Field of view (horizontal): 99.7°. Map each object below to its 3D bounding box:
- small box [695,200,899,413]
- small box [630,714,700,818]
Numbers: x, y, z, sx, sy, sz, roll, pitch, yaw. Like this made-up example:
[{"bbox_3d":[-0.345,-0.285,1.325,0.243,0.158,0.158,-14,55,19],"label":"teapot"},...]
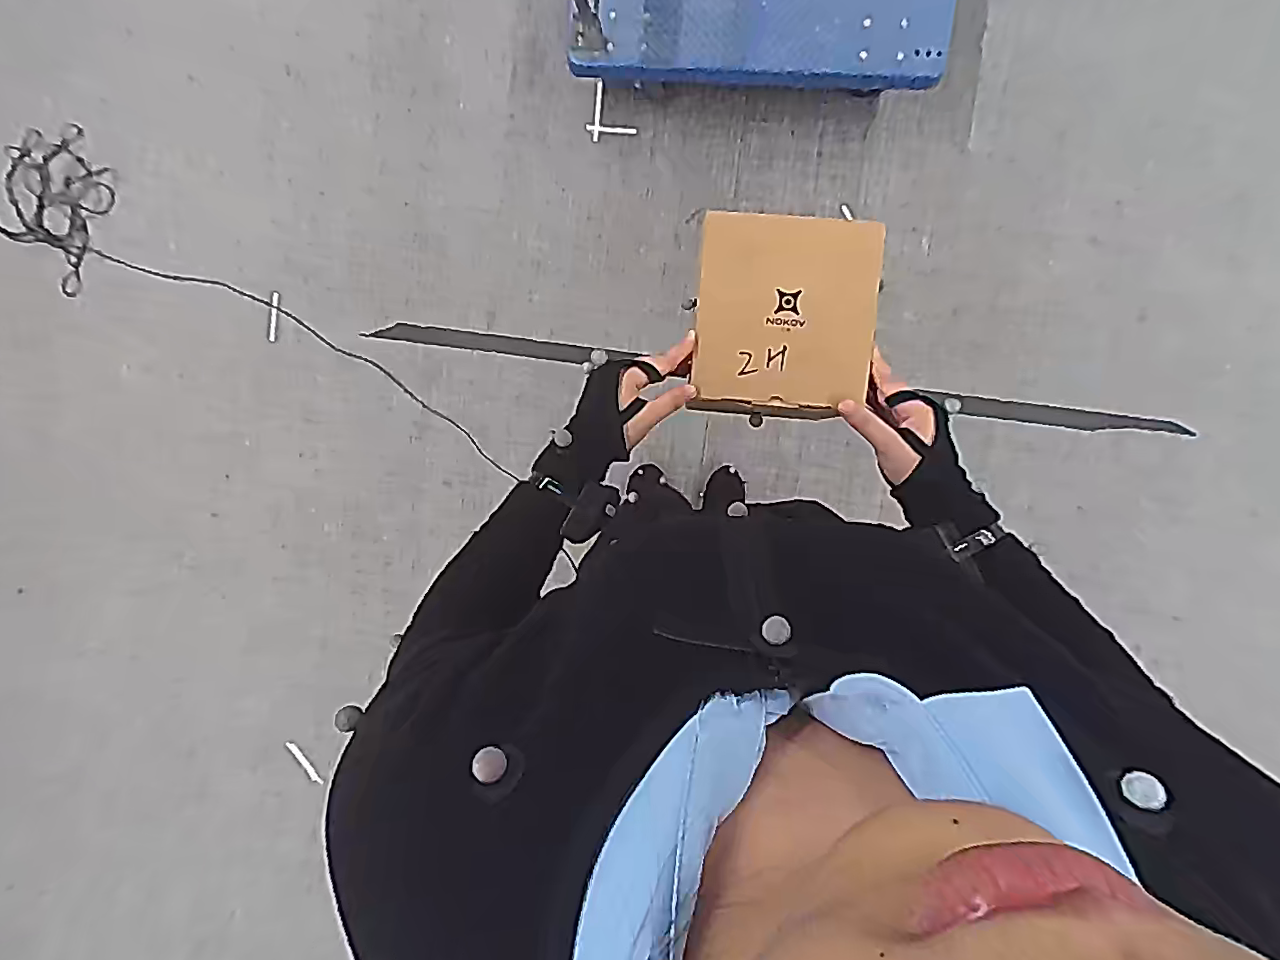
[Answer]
[{"bbox_3d":[0.149,-0.168,0.576,0.168,0.176,0.179,5,96,3],"label":"small box"},{"bbox_3d":[0.071,0.763,1.456,0.168,0.176,0.179,5,93,4],"label":"small box"}]
